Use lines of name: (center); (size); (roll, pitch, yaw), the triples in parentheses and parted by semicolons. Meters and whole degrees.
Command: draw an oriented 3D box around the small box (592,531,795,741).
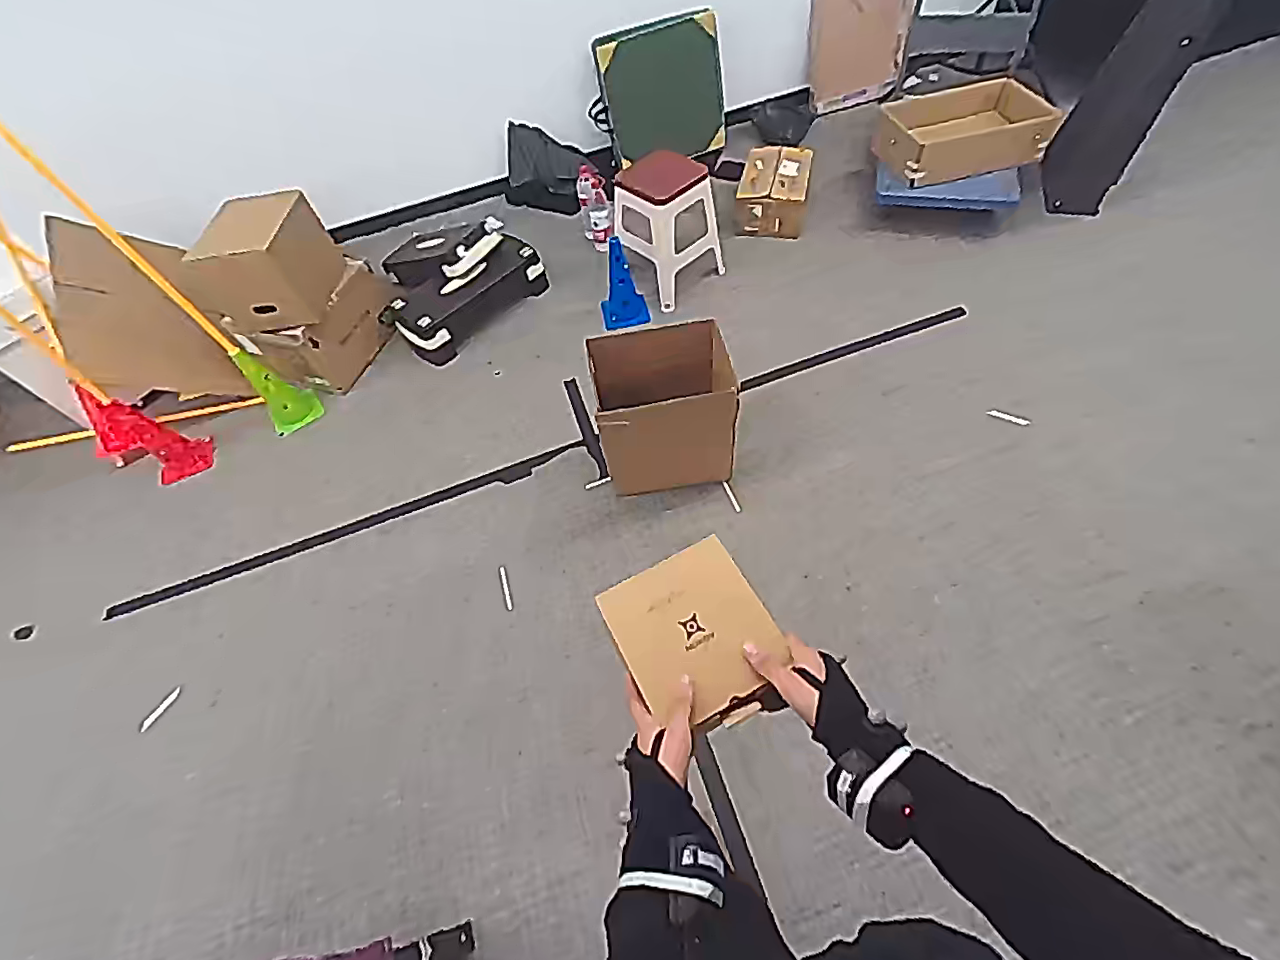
small box: (0.059, 0.197, 0.660); (0.168, 0.176, 0.179); (-25, 62, -11)
